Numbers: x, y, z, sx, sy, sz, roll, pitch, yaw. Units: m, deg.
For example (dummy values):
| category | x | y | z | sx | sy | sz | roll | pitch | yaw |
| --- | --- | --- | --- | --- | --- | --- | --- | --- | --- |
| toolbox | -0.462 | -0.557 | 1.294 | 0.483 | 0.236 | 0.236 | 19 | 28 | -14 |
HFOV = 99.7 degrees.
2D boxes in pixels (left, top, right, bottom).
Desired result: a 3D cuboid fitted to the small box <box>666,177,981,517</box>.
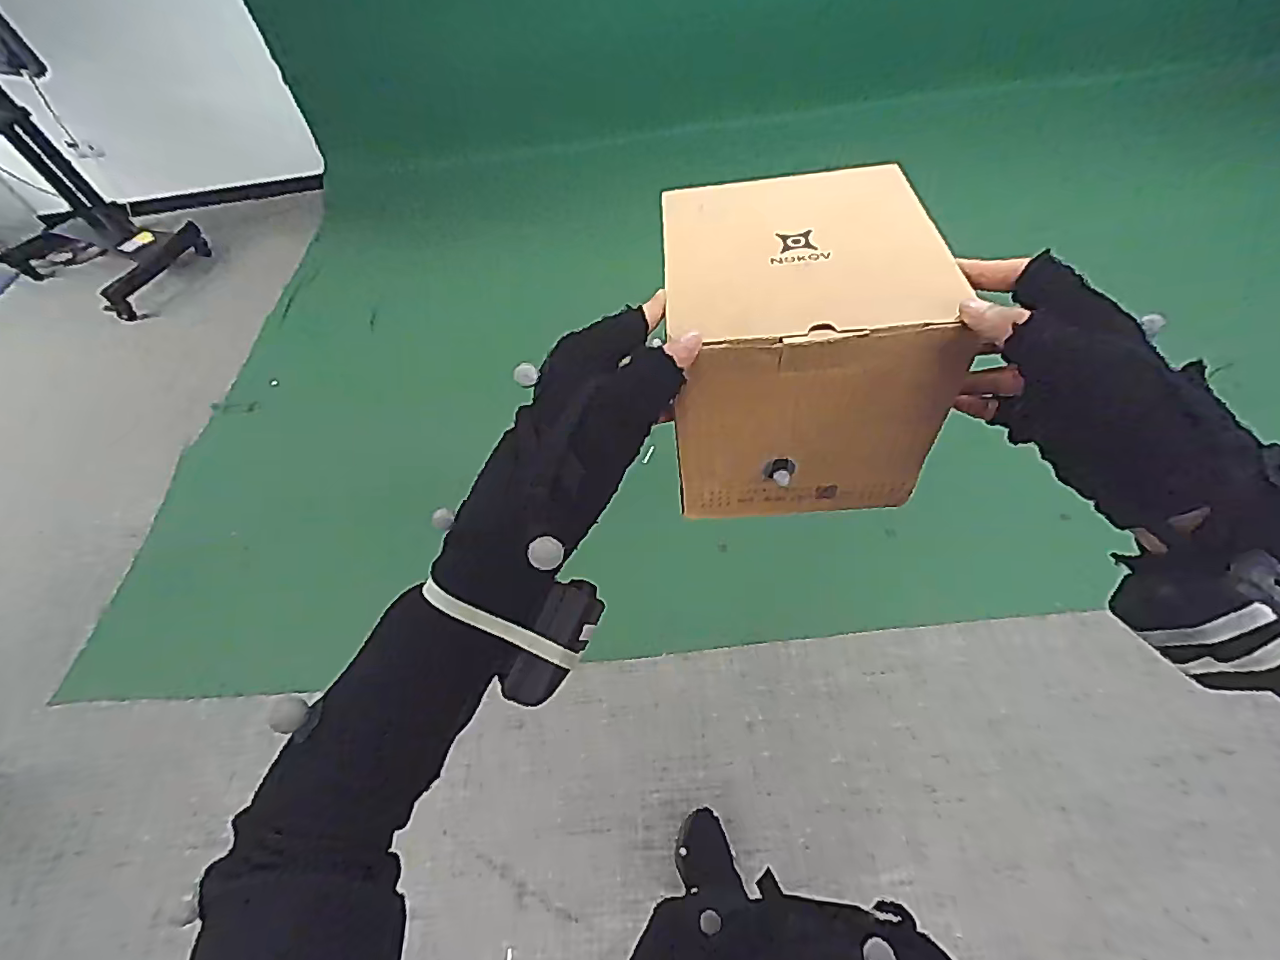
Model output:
| category | x | y | z | sx | sy | sz | roll | pitch | yaw |
| --- | --- | --- | --- | --- | --- | --- | --- | --- | --- |
| small box | 0.105 | -0.092 | 0.399 | 0.168 | 0.176 | 0.179 | -4 | 53 | 6 |
